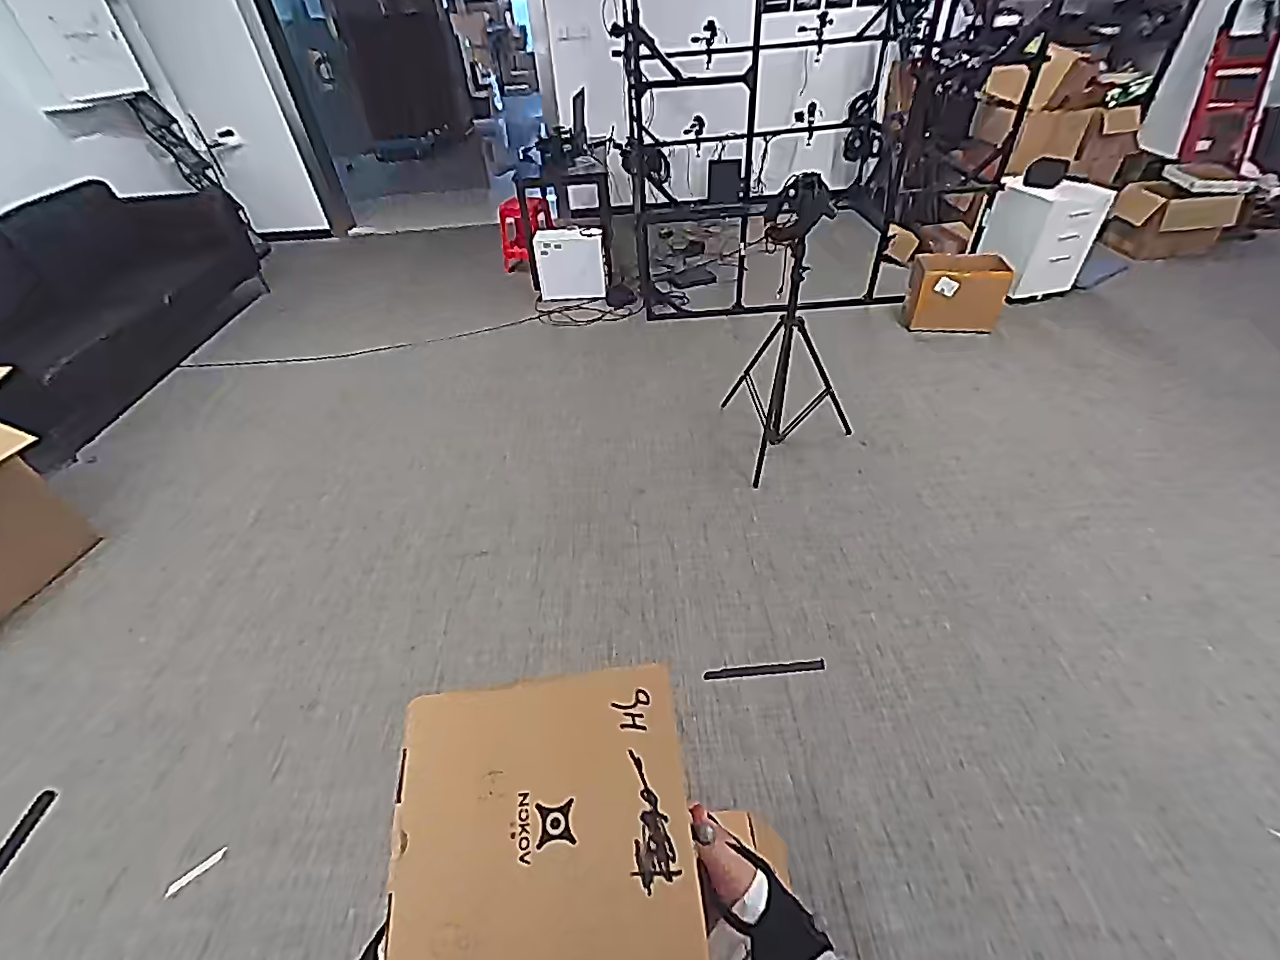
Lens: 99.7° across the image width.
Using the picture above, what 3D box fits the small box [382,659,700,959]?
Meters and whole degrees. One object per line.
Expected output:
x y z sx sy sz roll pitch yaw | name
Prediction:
-0.056 0.243 0.392 0.179 0.176 0.168 -9 59 -1 | small box
